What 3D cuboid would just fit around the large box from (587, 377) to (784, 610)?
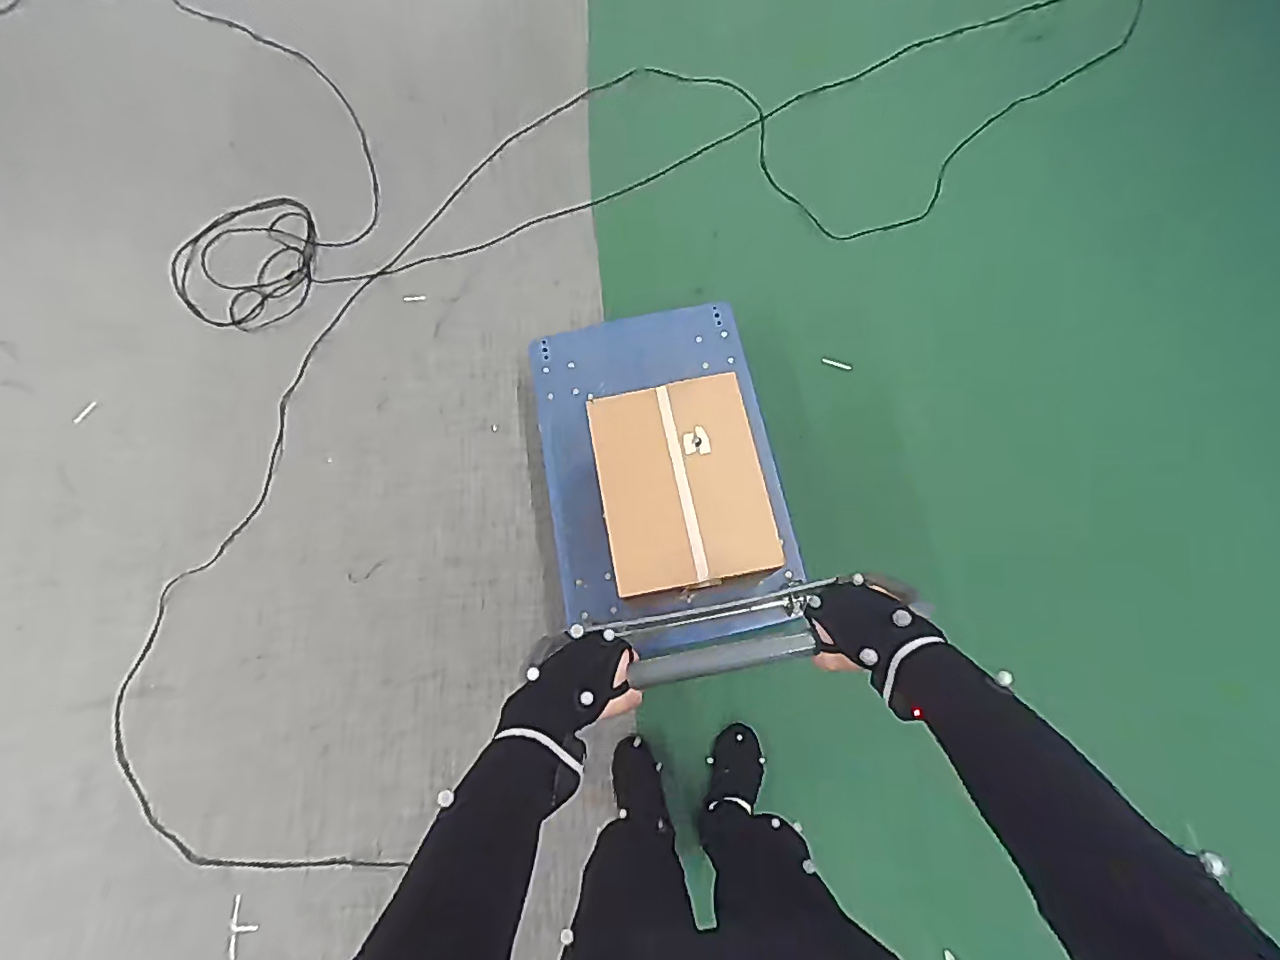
[{"bbox_3d":[0.089,0.047,1.191,0.320,0.320,0.408,-11,72,-1],"label":"large box"}]
